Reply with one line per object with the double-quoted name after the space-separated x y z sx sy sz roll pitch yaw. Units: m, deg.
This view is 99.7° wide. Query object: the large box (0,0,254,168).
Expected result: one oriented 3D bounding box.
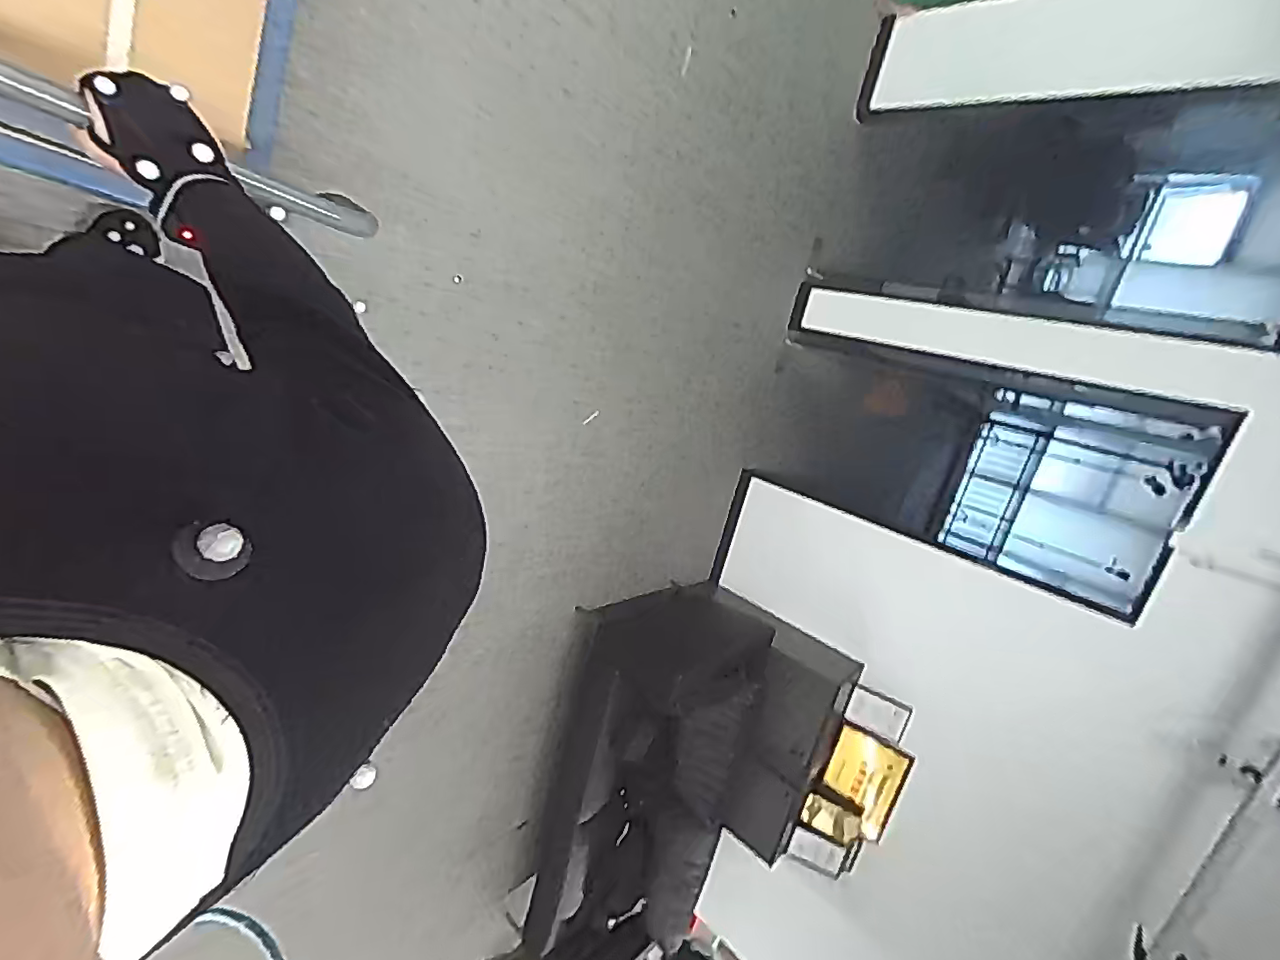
-0.815 -0.750 0.816 0.320 0.320 0.408 3 107 -52 "large box"
